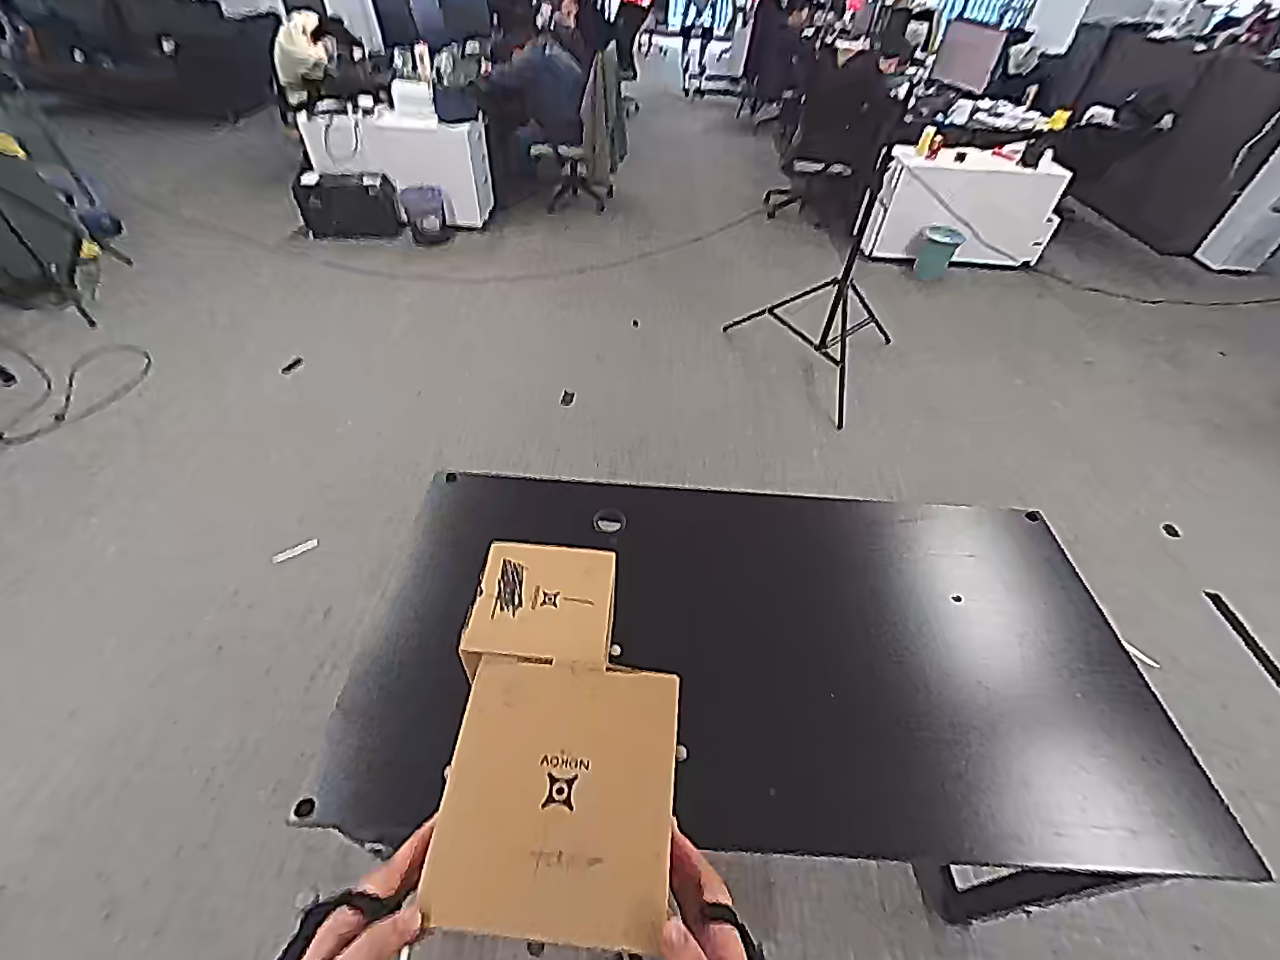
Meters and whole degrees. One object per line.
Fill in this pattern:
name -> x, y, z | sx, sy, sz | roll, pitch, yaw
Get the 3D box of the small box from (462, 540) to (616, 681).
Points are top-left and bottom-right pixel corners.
small box -> -0.129, 0.205, 0.761 | 0.179, 0.176, 0.168 | 5, 46, -1

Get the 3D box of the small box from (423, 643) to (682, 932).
small box -> -0.058, 0.262, 0.464 | 0.168, 0.176, 0.179 | 5, 53, 1
